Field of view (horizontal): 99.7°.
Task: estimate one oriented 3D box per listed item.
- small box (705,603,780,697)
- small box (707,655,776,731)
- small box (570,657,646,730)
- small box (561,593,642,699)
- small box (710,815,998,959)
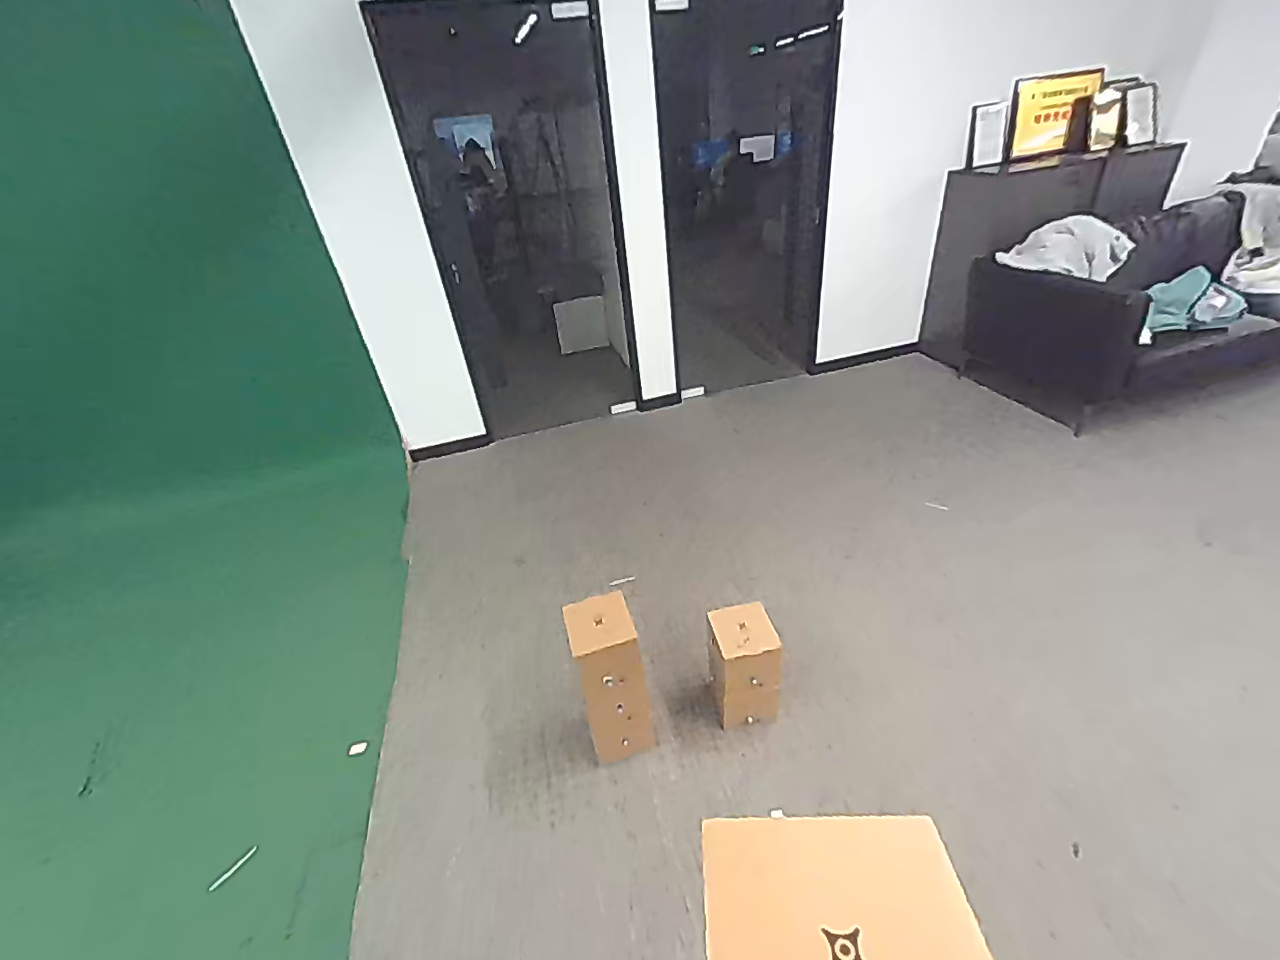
[{"bbox_3d":[0.287,0.487,1.550,0.168,0.176,0.179,-11,34,-5],"label":"small box"},{"bbox_3d":[0.301,0.626,1.638,0.168,0.176,0.179,-9,34,-4],"label":"small box"},{"bbox_3d":[-0.088,0.563,1.500,0.168,0.176,0.179,-14,35,-11],"label":"small box"},{"bbox_3d":[-0.100,0.430,1.407,0.168,0.176,0.179,-15,35,-10],"label":"small box"},{"bbox_3d":[0.133,0.355,0.350,0.168,0.176,0.179,-4,23,5],"label":"small box"}]
